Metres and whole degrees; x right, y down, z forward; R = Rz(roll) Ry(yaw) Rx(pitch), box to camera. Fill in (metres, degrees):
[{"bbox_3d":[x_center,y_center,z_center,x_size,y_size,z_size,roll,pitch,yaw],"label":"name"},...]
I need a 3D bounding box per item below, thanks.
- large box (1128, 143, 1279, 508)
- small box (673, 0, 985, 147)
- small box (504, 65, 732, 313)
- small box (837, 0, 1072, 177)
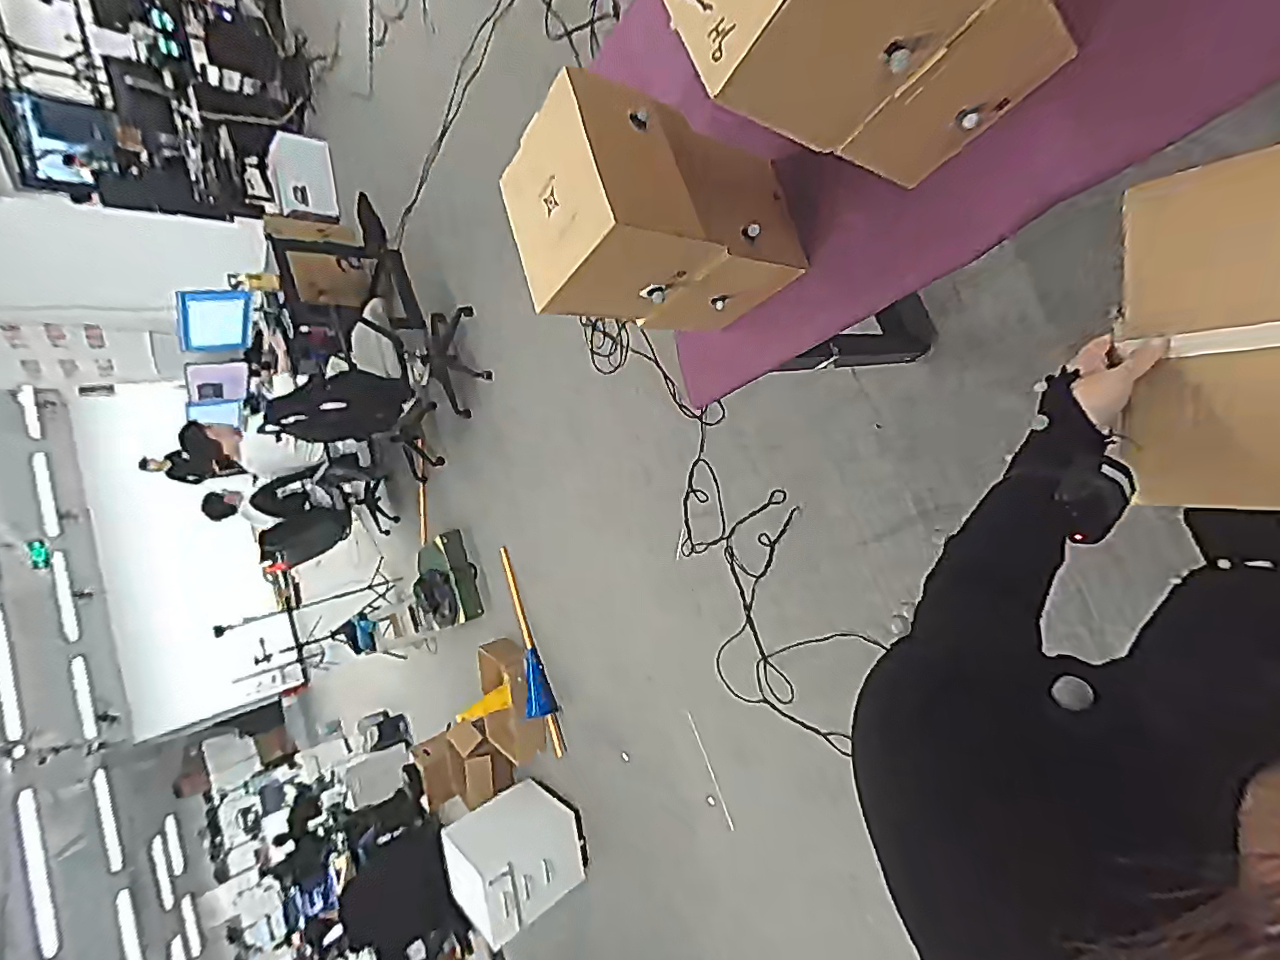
[{"bbox_3d":[0.726,-0.147,0.496,0.408,0.320,0.320,0,98,44],"label":"large box"},{"bbox_3d":[0.140,-0.399,0.406,0.179,0.176,0.168,-33,73,47],"label":"small box"},{"bbox_3d":[-0.026,-0.308,0.618,0.168,0.176,0.179,-27,78,49],"label":"small box"},{"bbox_3d":[0.262,-0.426,0.513,0.168,0.176,0.179,-33,74,48],"label":"small box"}]
